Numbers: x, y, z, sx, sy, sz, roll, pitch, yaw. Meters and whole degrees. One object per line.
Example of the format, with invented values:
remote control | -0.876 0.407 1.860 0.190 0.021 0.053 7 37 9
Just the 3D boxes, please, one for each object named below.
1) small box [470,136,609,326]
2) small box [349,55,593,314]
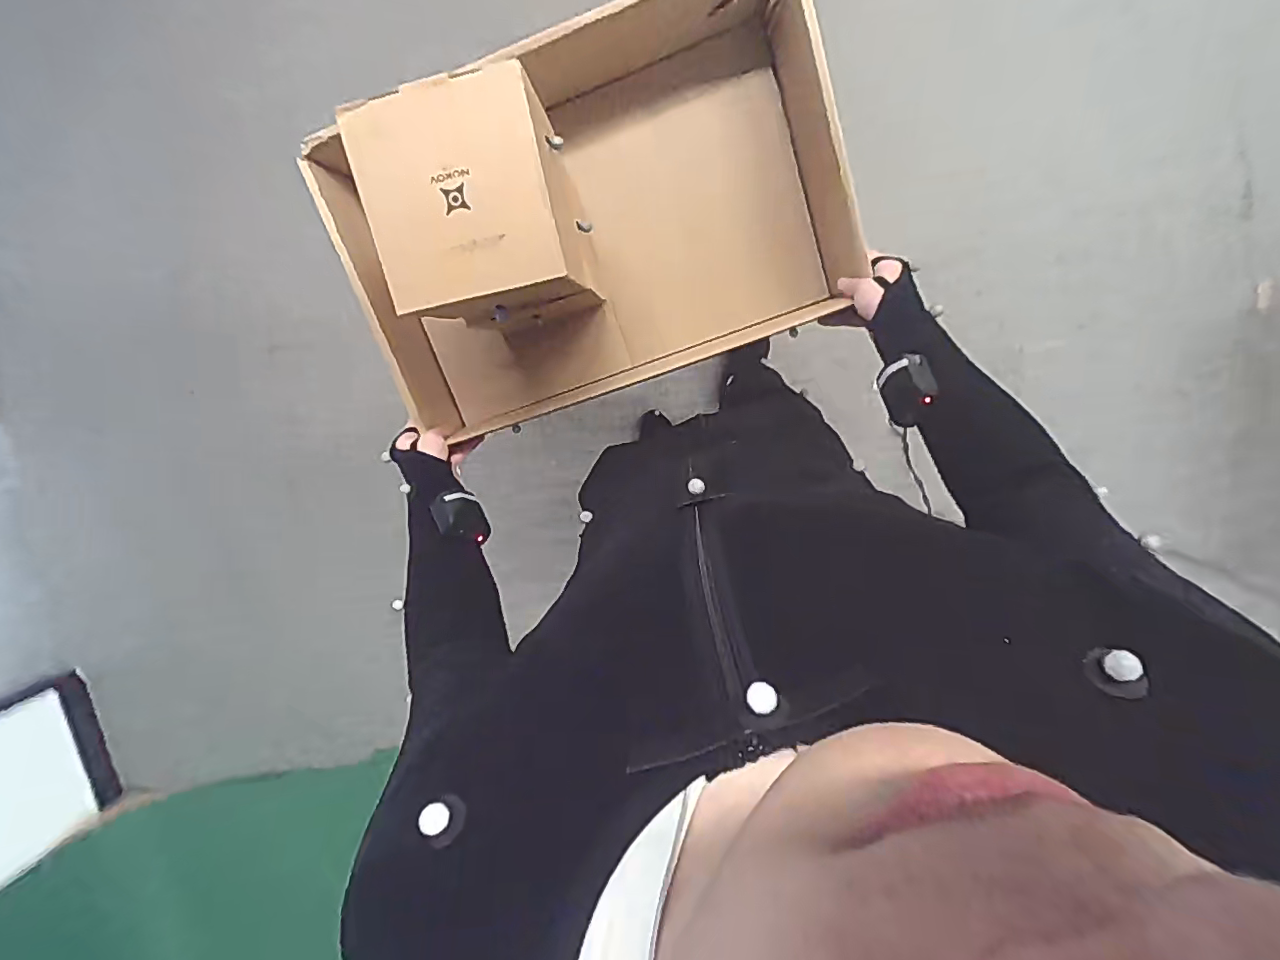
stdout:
small box | -0.144 -0.309 0.707 0.168 0.176 0.179 -14 104 5
small box | -0.150 -0.274 0.547 0.168 0.176 0.179 -10 104 5
